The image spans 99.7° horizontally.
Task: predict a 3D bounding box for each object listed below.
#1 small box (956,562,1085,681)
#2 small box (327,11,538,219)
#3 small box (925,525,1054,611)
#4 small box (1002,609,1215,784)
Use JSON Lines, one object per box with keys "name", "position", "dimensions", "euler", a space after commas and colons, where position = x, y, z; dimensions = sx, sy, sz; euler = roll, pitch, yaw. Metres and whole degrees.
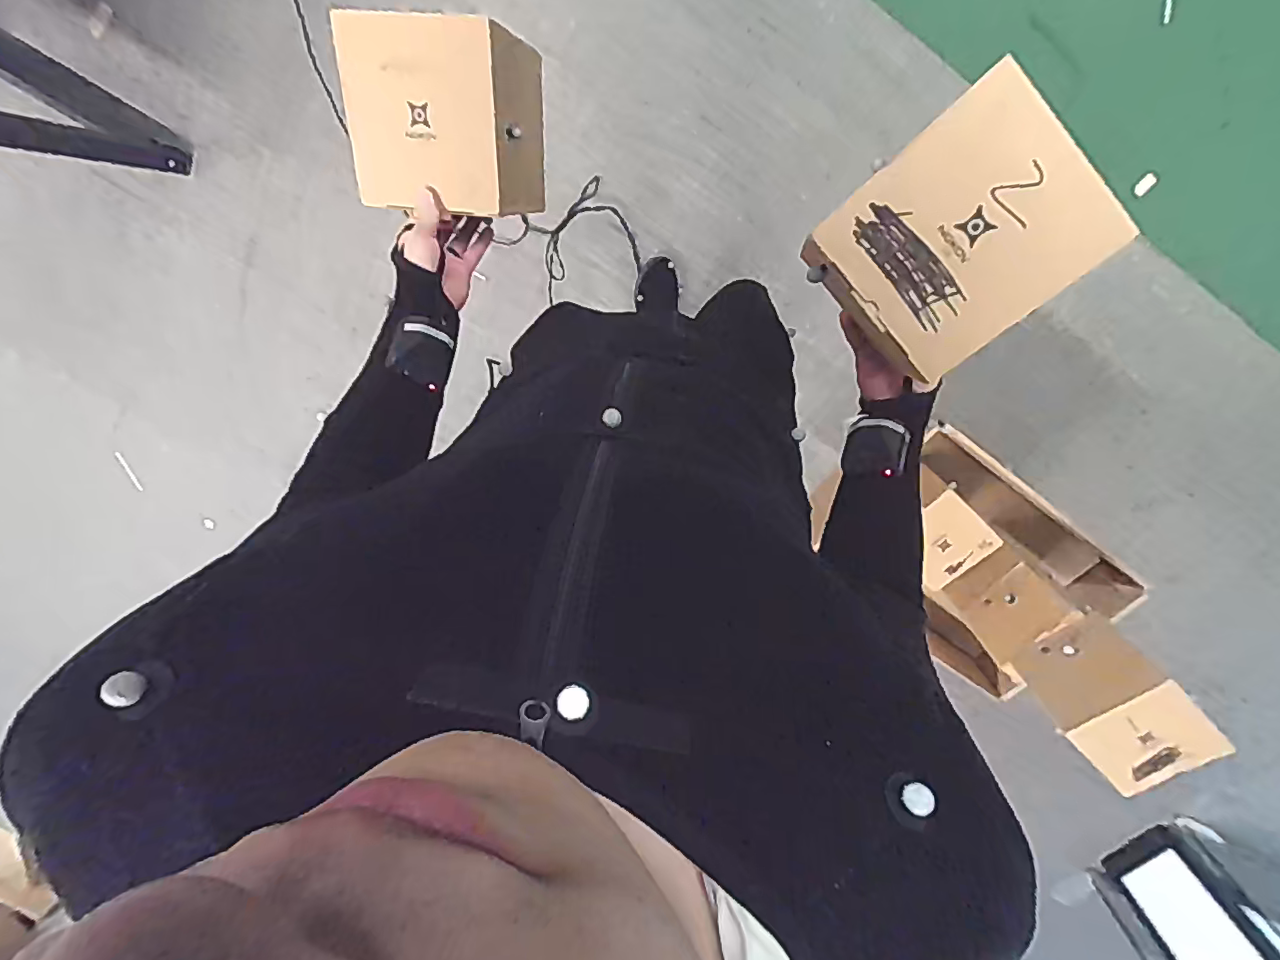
{"name": "small box", "position": [0.767, 0.290, 1.050], "dimensions": [0.179, 0.176, 0.168], "euler": [34, 111, -8]}
{"name": "small box", "position": [-0.223, -0.414, 0.635], "dimensions": [0.168, 0.176, 0.179], "euler": [7, 119, 5]}
{"name": "small box", "position": [0.782, 0.230, 1.200], "dimensions": [0.179, 0.176, 0.168], "euler": [34, 110, -9]}
{"name": "small box", "position": [0.760, 0.351, 0.897], "dimensions": [0.179, 0.176, 0.168], "euler": [43, 109, -11]}
